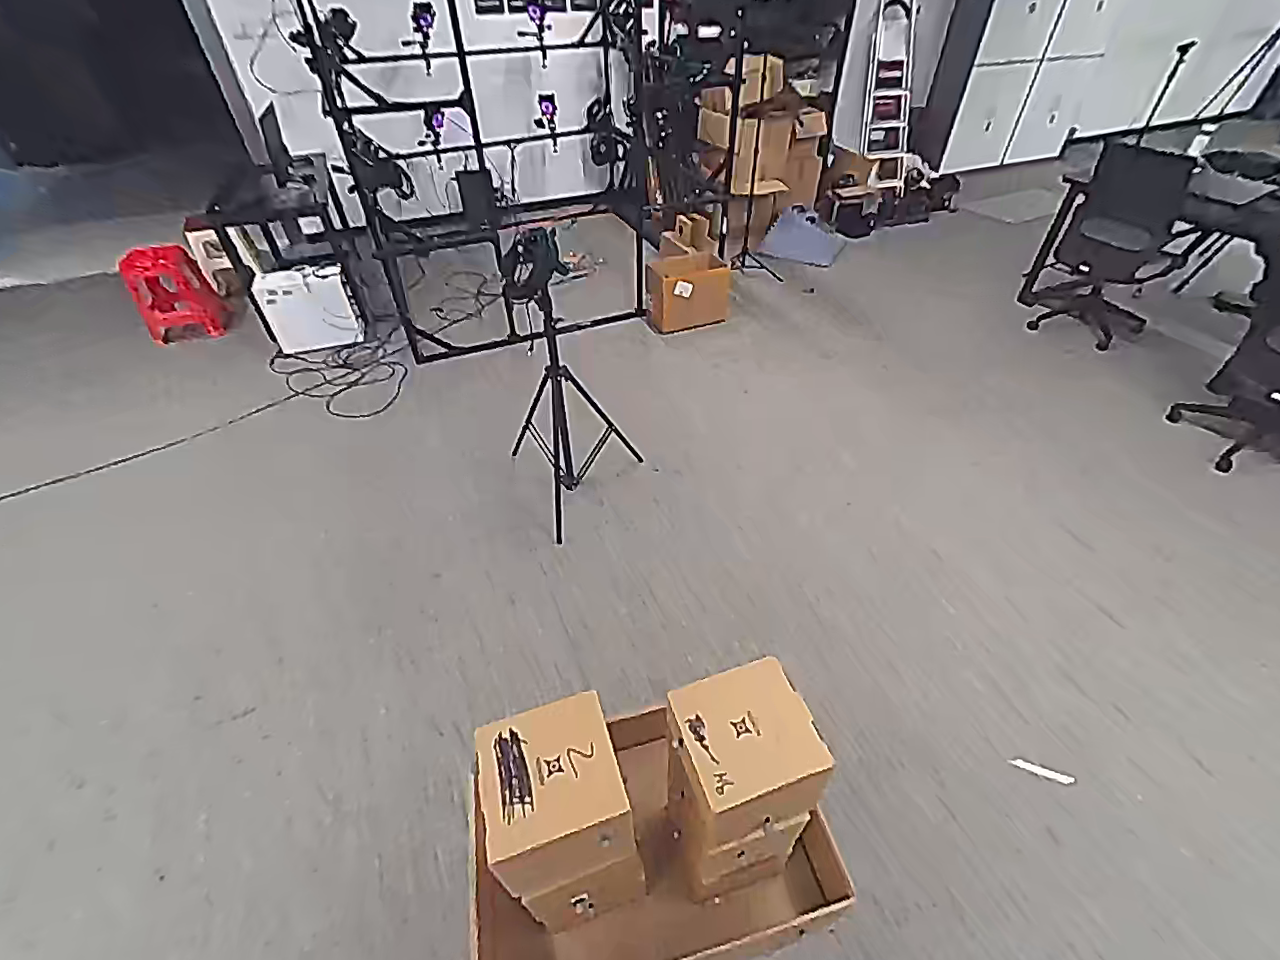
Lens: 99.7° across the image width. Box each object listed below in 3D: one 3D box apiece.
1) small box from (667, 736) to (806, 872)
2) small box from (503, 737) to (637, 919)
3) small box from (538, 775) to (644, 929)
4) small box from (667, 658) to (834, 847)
[{"bbox_3d":[0.149,0.516,0.893,0.168,0.176,0.179,-13,43,-11],"label":"small box"},{"bbox_3d":[-0.109,0.551,0.859,0.168,0.176,0.179,-15,45,-13],"label":"small box"},{"bbox_3d":[-0.097,0.669,0.972,0.179,0.176,0.168,-12,44,-12],"label":"small box"},{"bbox_3d":[0.146,0.393,0.784,0.179,0.176,0.168,-14,43,-12],"label":"small box"}]
